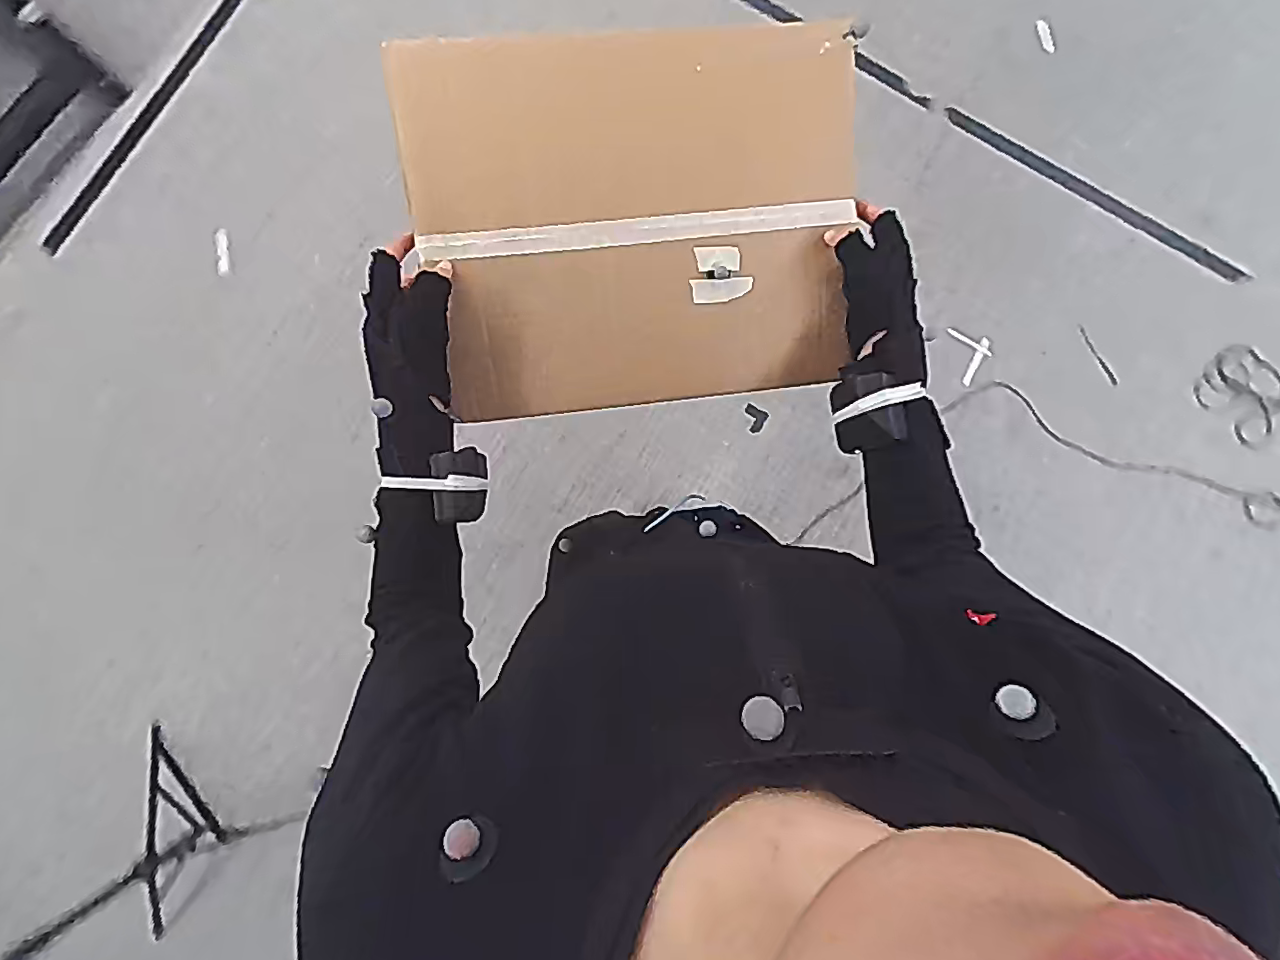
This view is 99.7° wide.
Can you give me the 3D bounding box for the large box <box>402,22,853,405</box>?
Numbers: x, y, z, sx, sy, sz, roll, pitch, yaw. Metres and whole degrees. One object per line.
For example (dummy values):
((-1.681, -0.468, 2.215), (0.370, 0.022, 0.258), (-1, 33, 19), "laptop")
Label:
((-0.011, -0.276, 0.648), (0.408, 0.320, 0.320), (-6, 104, -6), "large box")
